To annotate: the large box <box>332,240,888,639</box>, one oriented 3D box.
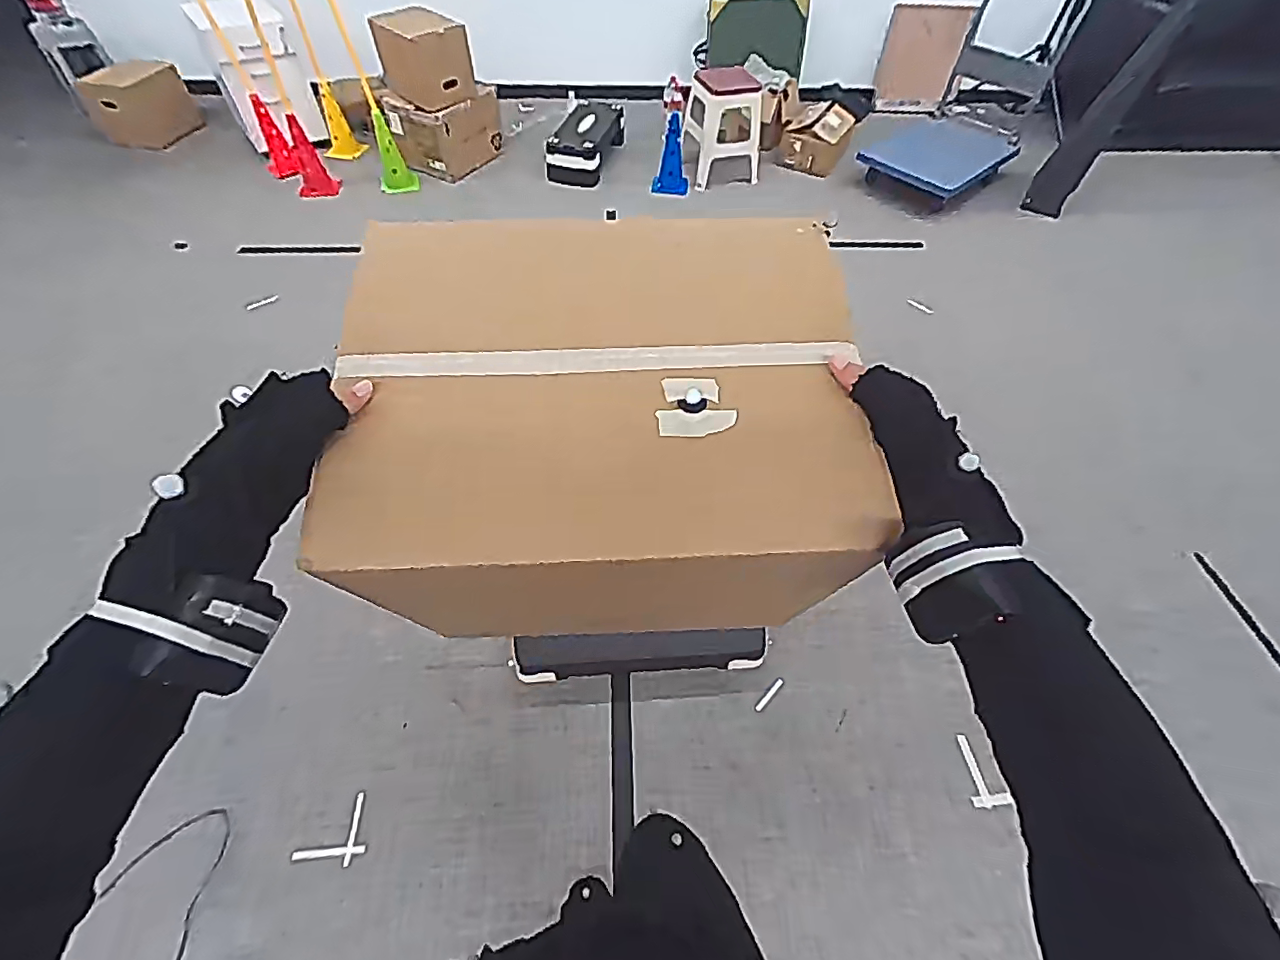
[{"bbox_3d":[-0.029,-0.021,0.577,0.408,0.320,0.320,-2,65,-2],"label":"large box"}]
